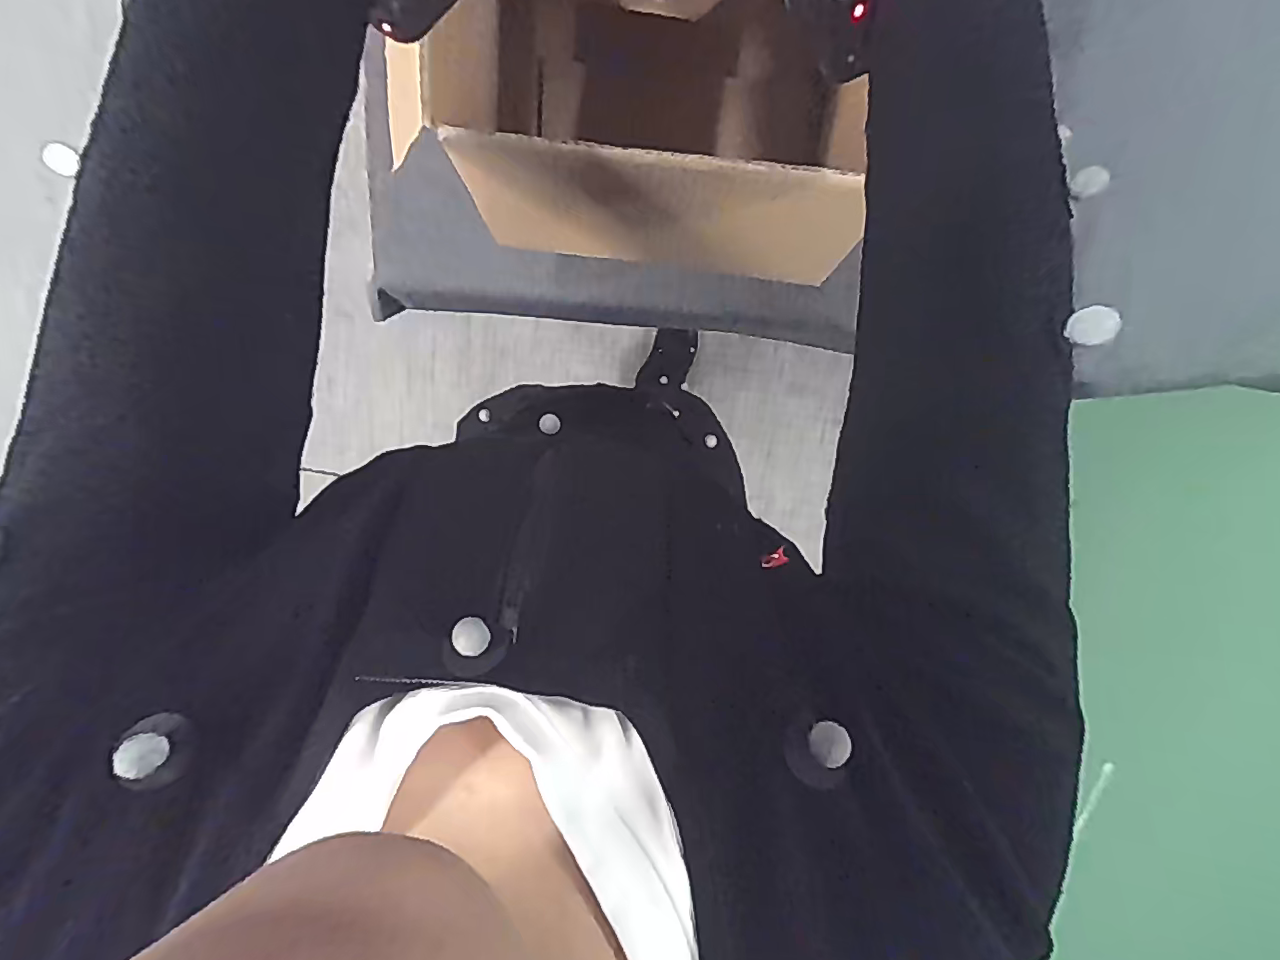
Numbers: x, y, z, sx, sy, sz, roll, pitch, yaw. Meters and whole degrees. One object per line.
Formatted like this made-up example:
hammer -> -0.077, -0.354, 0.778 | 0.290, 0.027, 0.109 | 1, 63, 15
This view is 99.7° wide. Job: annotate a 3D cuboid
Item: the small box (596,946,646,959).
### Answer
small box -> -0.072, 1.729, 1.829 | 0.179, 0.176, 0.168 | 3, 105, 4
